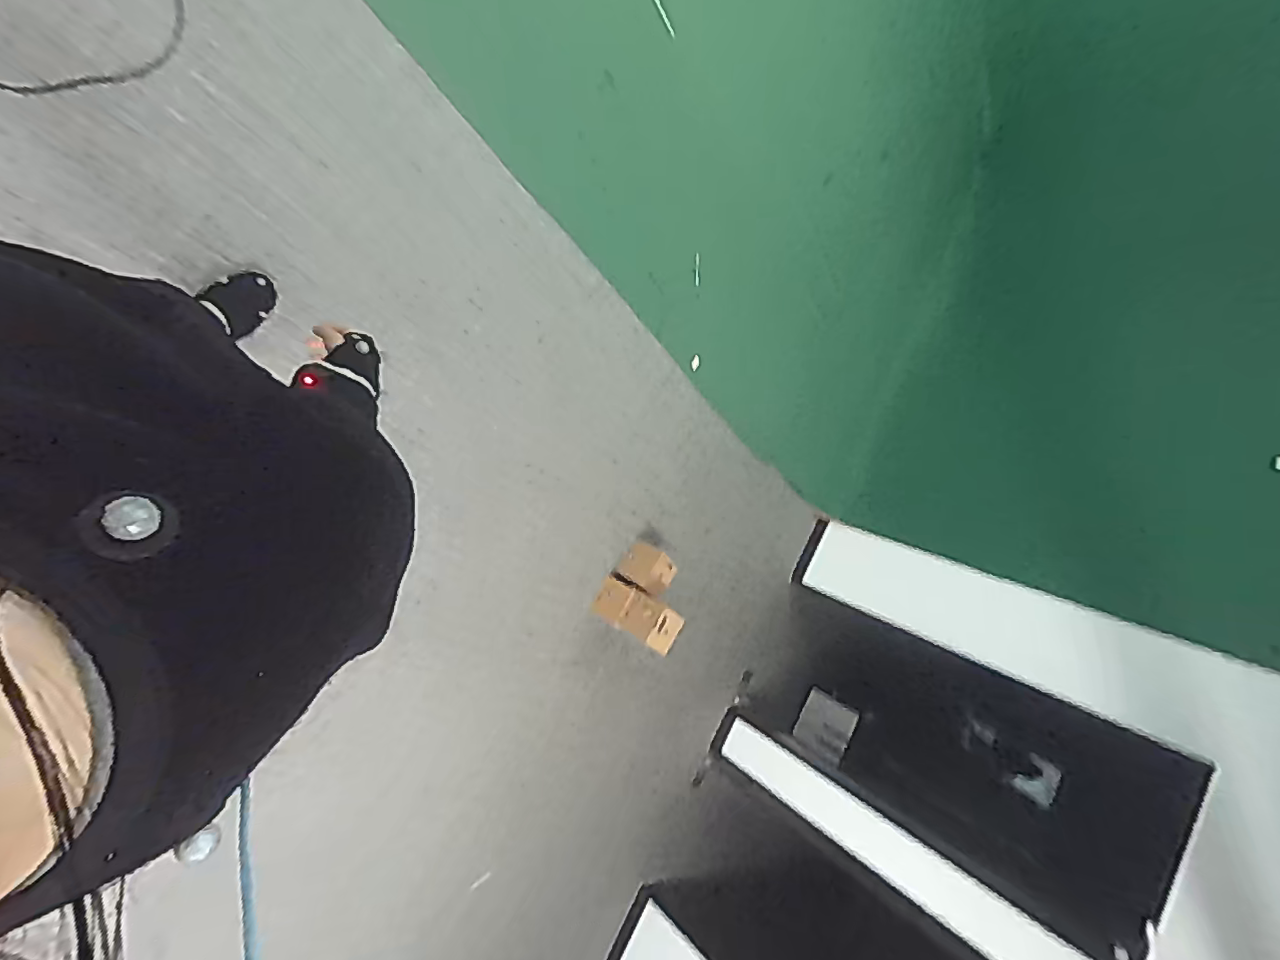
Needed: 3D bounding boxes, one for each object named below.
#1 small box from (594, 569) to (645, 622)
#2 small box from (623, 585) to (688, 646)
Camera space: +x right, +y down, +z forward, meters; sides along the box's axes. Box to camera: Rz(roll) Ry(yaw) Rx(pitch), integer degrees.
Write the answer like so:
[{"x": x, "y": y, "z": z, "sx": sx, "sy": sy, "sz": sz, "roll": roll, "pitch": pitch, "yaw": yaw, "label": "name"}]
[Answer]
[{"x": -0.060, "y": 0.501, "z": 2.323, "sx": 0.179, "sy": 0.176, "sz": 0.168, "roll": 36, "pitch": 79, "yaw": -46, "label": "small box"}, {"x": 0.060, "y": 0.550, "z": 2.221, "sx": 0.168, "sy": 0.176, "sz": 0.179, "roll": -57, "pitch": 137, "yaw": -11, "label": "small box"}]
